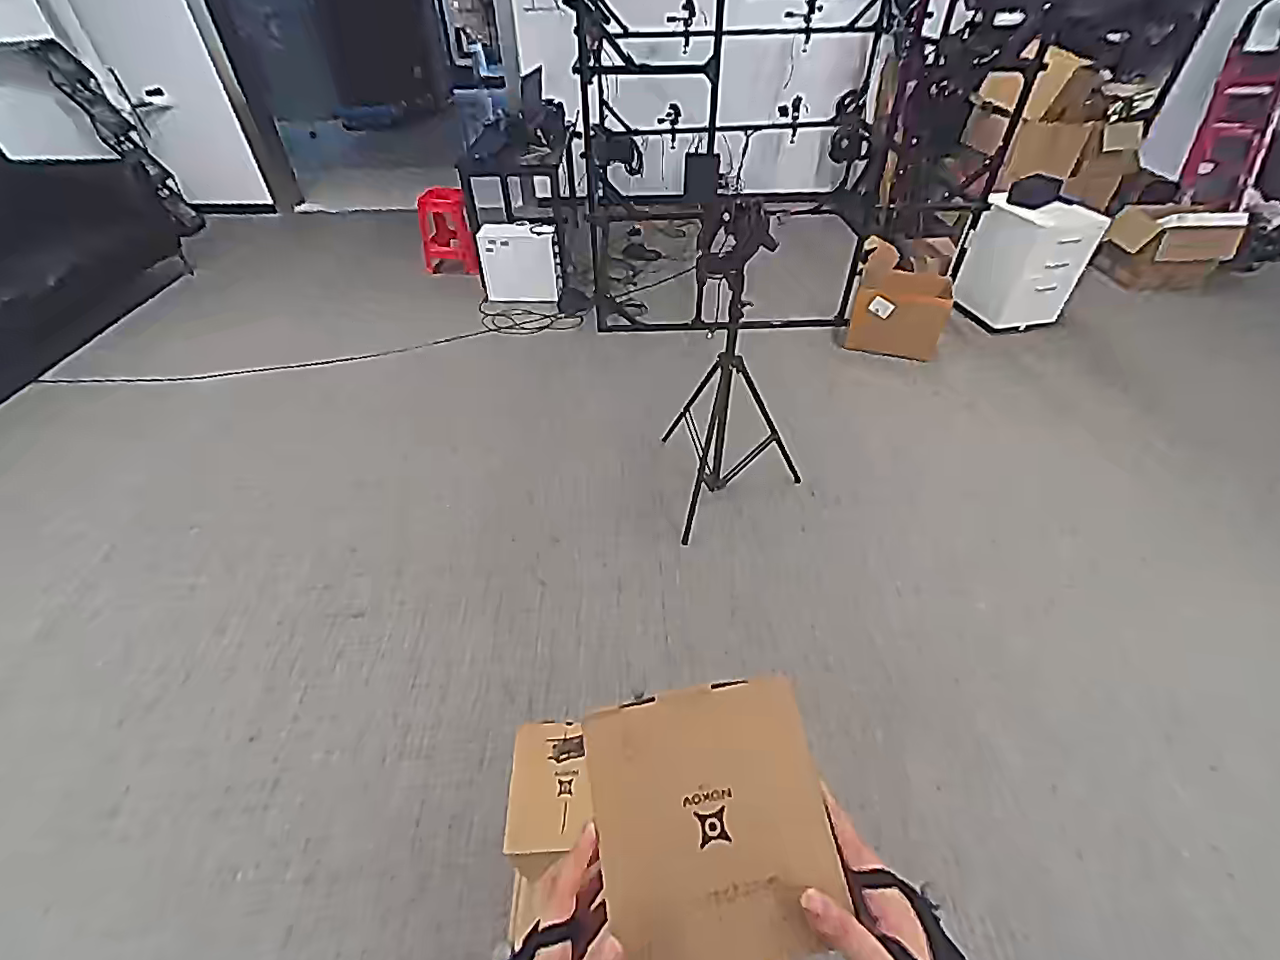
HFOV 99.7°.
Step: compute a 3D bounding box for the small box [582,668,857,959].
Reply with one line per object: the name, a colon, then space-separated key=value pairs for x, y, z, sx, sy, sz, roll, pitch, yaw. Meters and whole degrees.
small box: x=0.051 y=0.272 z=0.461 sx=0.168 sy=0.176 sz=0.179 roll=-12 pitch=68 yaw=-3
